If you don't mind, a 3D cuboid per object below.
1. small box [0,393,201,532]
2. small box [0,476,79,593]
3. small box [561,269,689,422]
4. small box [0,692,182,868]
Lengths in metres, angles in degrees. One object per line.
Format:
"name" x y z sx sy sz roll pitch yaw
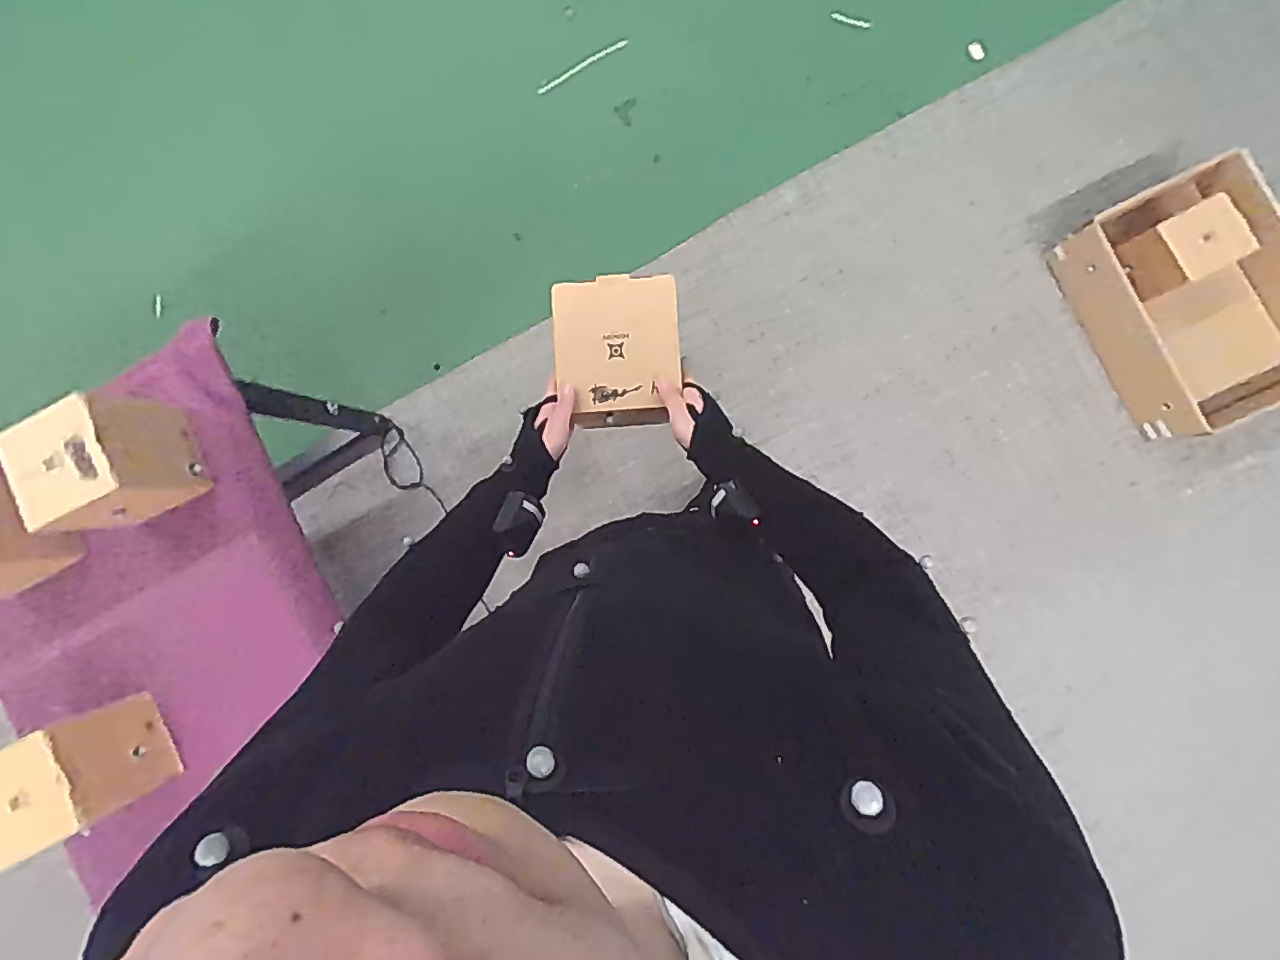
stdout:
"small box" -0.892 -0.029 0.908 0.179 0.176 0.168 -24 88 6
"small box" -1.151 0.103 0.931 0.179 0.176 0.168 -27 88 4
"small box" -0.017 -0.183 0.782 0.168 0.176 0.179 -3 90 4
"small box" -0.944 0.492 0.911 0.179 0.176 0.168 -29 87 3
